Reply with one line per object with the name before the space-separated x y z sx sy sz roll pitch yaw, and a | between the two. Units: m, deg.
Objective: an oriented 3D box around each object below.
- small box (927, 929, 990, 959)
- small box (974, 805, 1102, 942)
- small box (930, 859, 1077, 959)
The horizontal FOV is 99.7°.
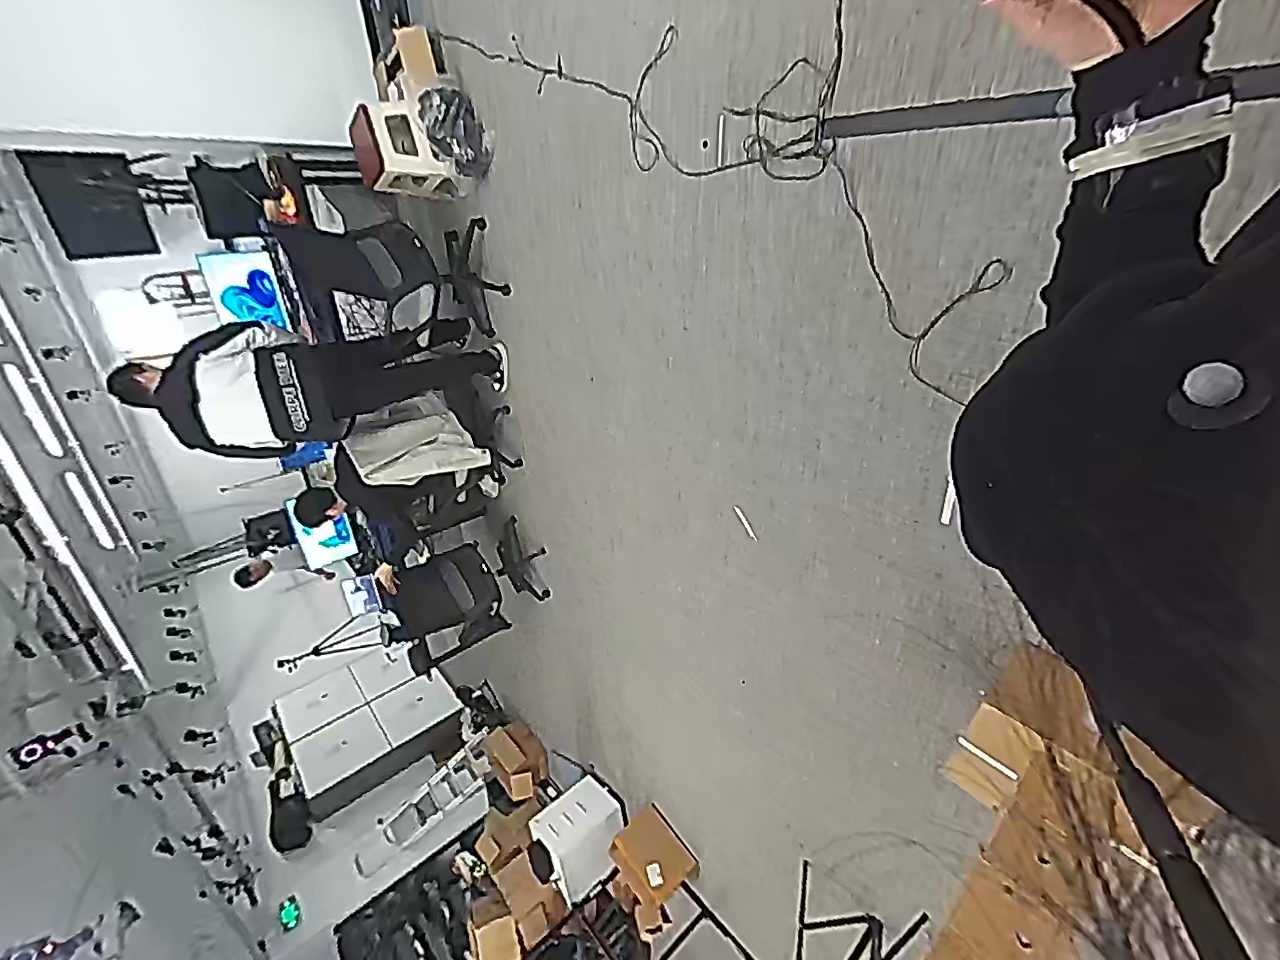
small box | 0.547 0.916 0.905 0.168 0.176 0.179 29 132 42
small box | 0.791 0.809 1.092 0.168 0.176 0.179 31 131 39
small box | 0.668 0.858 0.997 0.168 0.176 0.179 28 130 40
